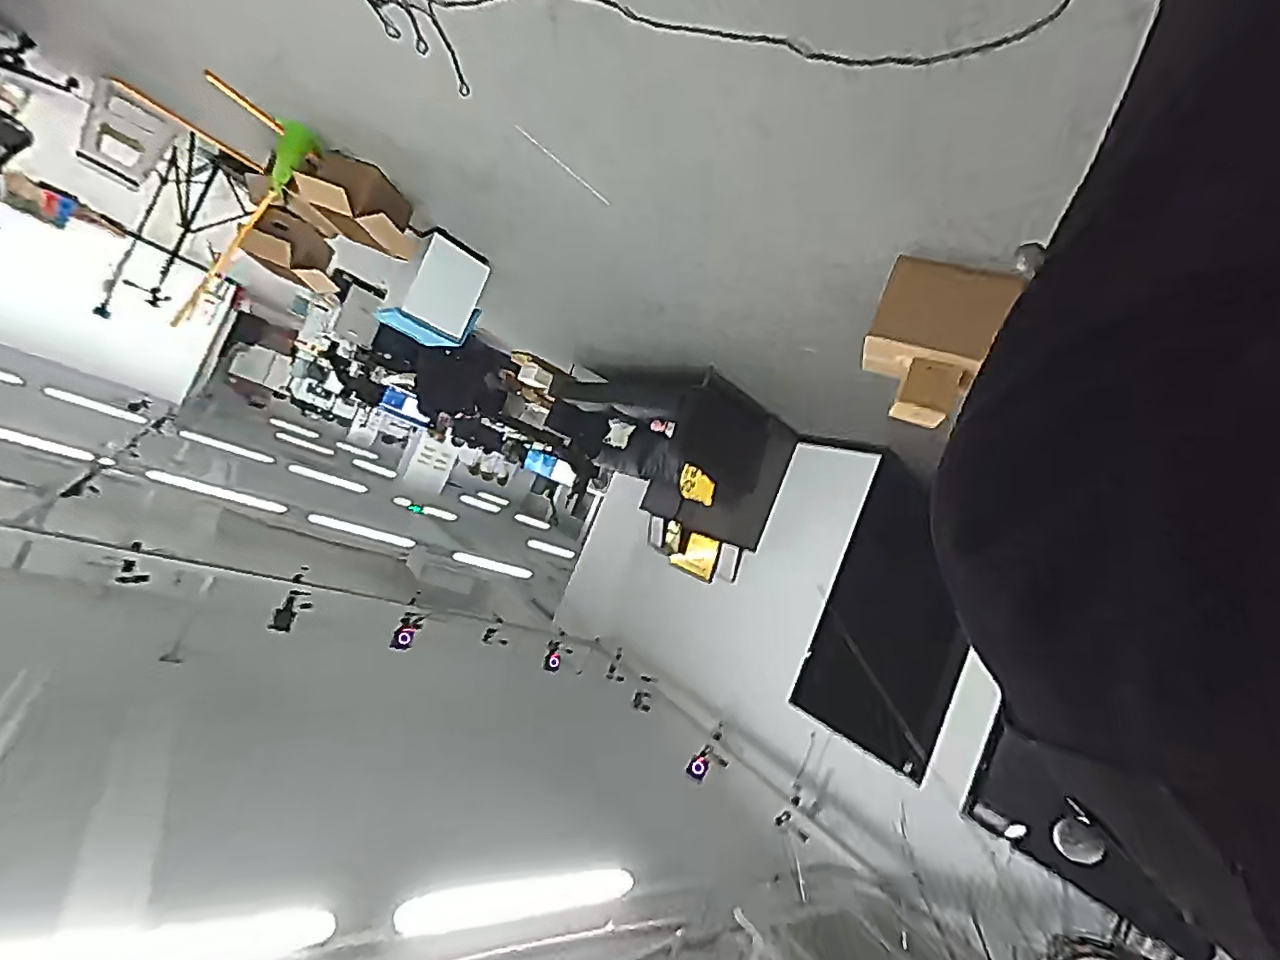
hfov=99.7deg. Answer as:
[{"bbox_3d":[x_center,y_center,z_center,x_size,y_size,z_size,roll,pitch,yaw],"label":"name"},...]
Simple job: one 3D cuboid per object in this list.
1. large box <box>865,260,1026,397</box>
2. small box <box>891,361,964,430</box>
[{"bbox_3d":[1.073,-0.541,1.944,0.408,0.320,0.320,23,176,22],"label":"large box"},{"bbox_3d":[1.019,-0.300,1.921,0.168,0.176,0.179,22,177,18],"label":"small box"}]
